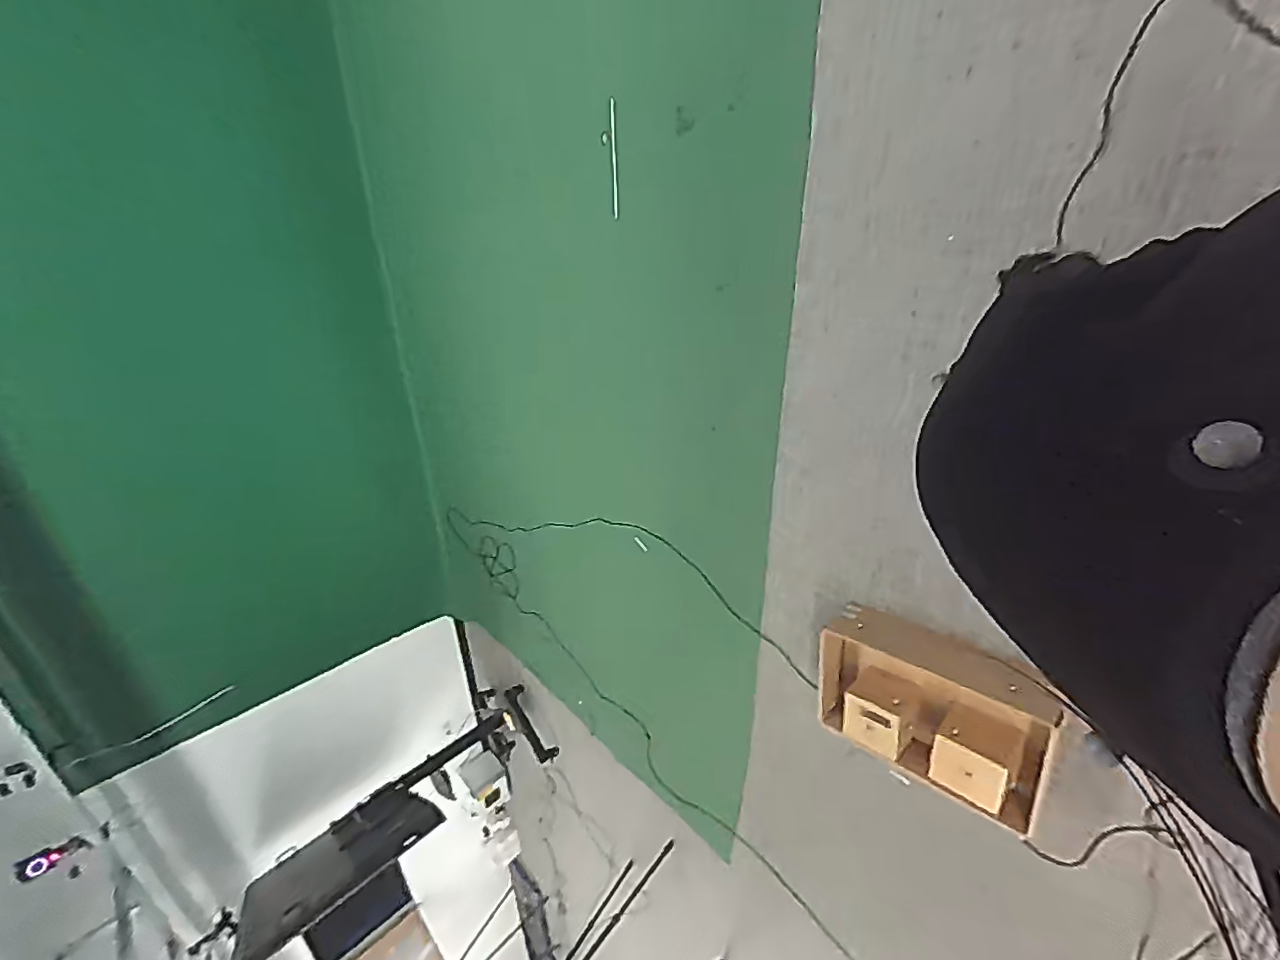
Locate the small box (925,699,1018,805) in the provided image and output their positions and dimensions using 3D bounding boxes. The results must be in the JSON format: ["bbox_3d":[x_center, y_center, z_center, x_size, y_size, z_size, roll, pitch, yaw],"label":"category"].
[{"bbox_3d":[0.942,0.760,1.534,0.179,0.176,0.168,18,120,45],"label":"small box"}]
